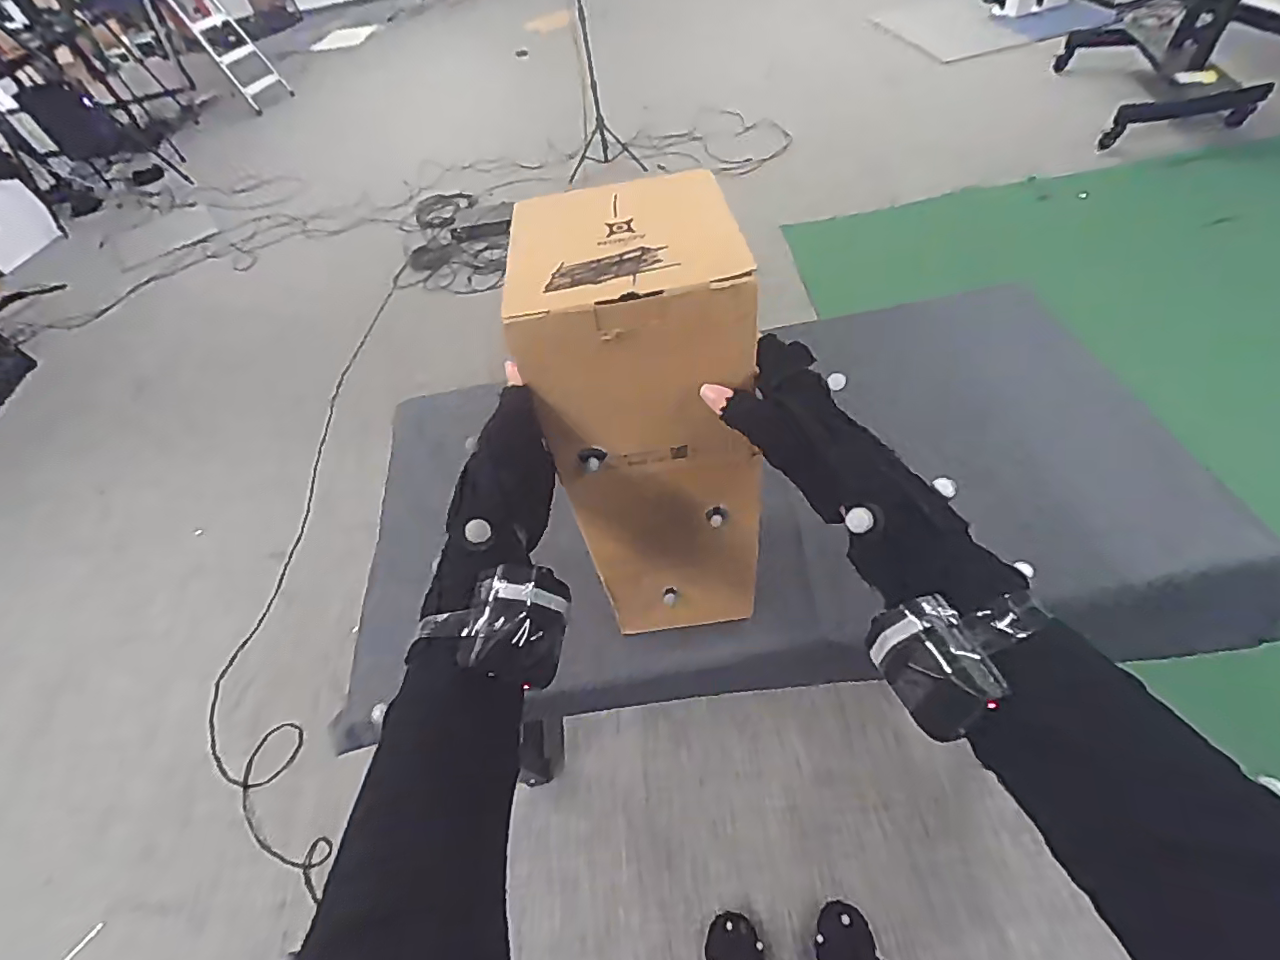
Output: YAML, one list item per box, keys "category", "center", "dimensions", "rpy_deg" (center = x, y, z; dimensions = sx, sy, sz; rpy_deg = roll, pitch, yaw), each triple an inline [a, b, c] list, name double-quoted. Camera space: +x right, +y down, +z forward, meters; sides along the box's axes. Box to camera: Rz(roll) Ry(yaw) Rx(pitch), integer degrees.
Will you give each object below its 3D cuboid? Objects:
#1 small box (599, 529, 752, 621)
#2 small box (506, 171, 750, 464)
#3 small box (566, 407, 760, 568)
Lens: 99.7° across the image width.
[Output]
- category: "small box"
  center: [0.047, 0.072, 0.714]
  dimensions: [0.179, 0.176, 0.168]
  rpy_deg: [-9, 52, 3]
- category: "small box"
  center: [-0.003, -0.129, 0.461]
  dimensions: [0.168, 0.176, 0.179]
  rpy_deg: [-8, 49, 3]
- category: "small box"
  center: [0.024, -0.024, 0.585]
  dimensions: [0.179, 0.176, 0.168]
  rpy_deg: [-10, 50, 4]
